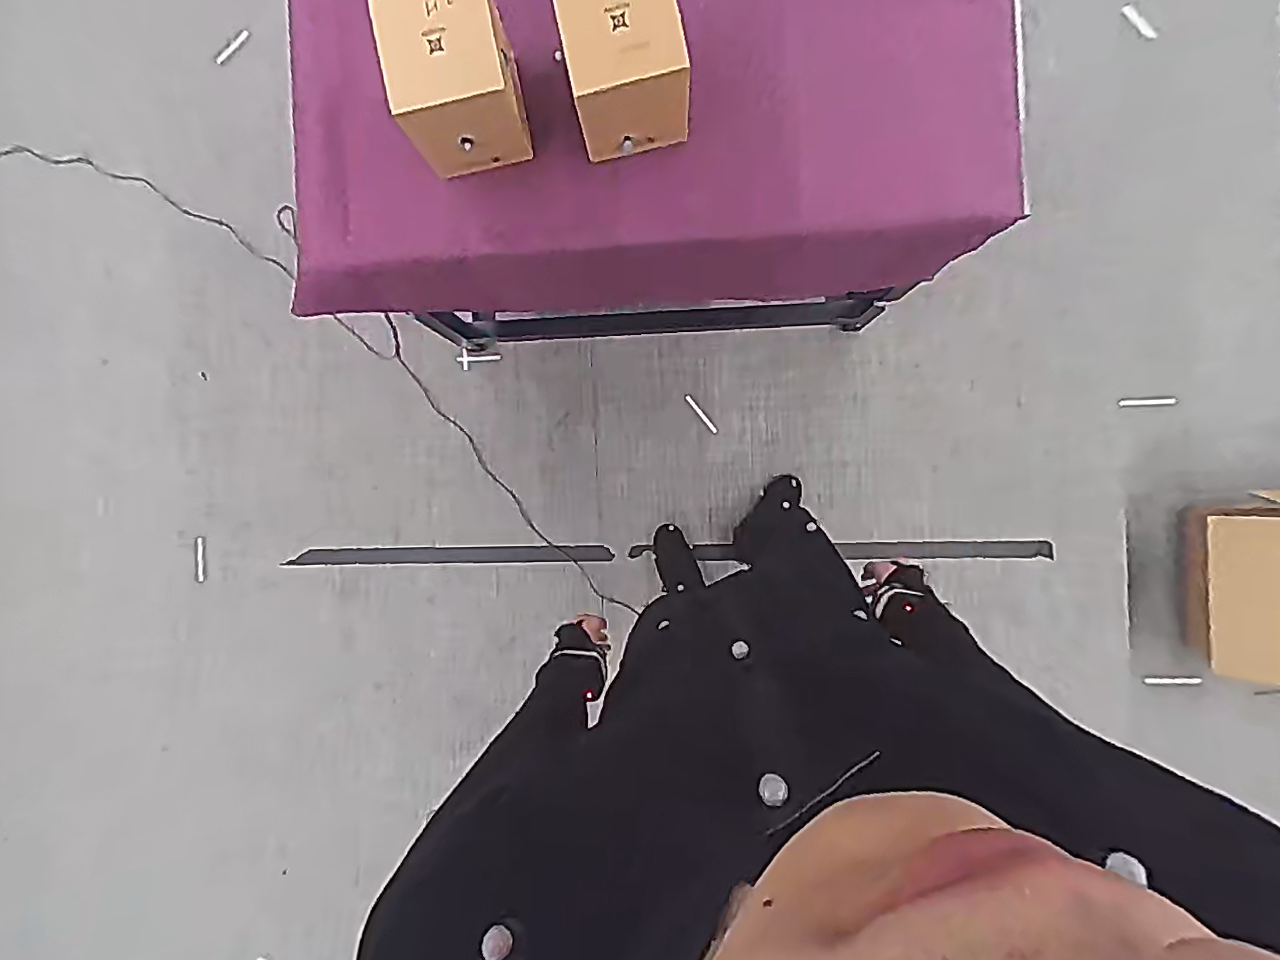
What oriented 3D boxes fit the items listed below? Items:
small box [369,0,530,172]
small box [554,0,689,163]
[{"bbox_3d":[-0.278,-0.603,0.827,0.168,0.176,0.179,-11,89,2],"label":"small box"},{"bbox_3d":[-0.026,-0.624,0.815,0.168,0.176,0.179,-12,89,4],"label":"small box"}]
